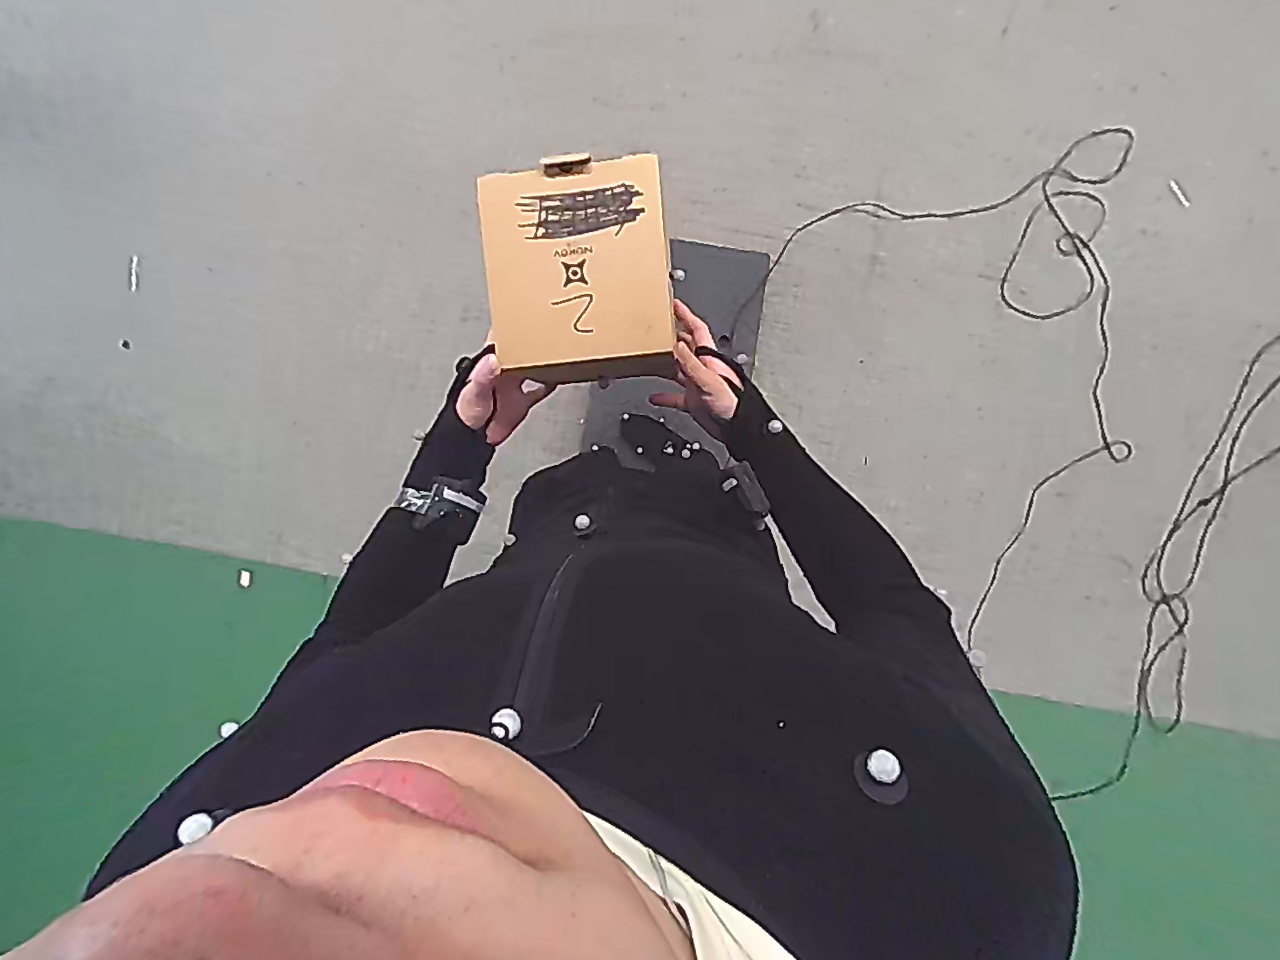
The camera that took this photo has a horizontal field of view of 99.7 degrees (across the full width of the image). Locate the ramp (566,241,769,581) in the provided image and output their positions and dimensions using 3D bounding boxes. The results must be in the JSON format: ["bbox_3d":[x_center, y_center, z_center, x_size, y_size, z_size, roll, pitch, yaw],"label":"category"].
[{"bbox_3d":[0.087,-0.218,1.652,0.509,0.206,0.991,7,97,1],"label":"ramp"}]
